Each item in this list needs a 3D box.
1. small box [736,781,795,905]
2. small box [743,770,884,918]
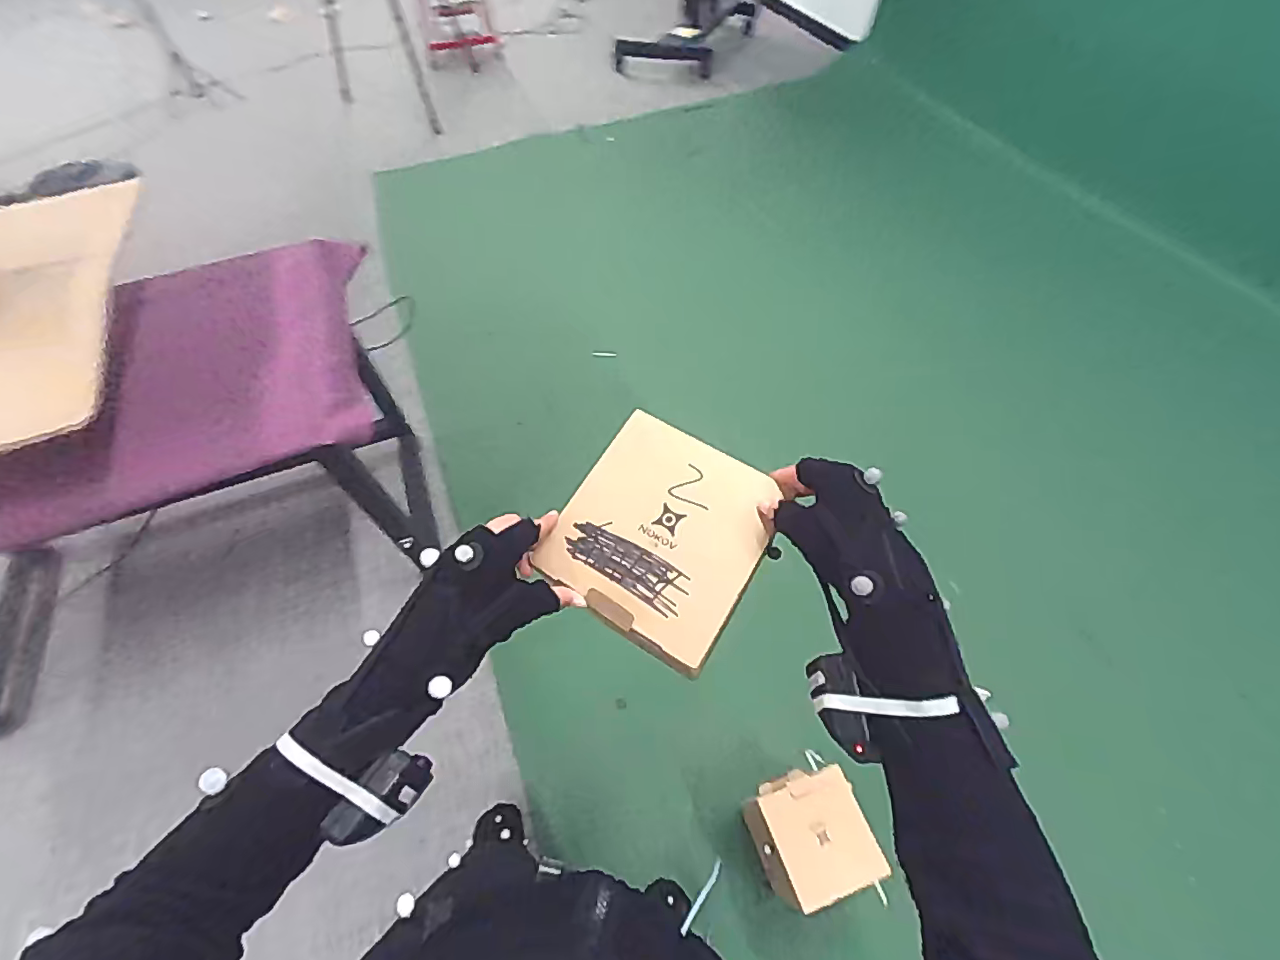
[{"bbox_3d":[0.317,0.748,1.134,0.168,0.176,0.179,-18,58,-10],"label":"small box"},{"bbox_3d":[0.306,0.661,0.996,0.168,0.176,0.179,-17,58,-9],"label":"small box"}]
